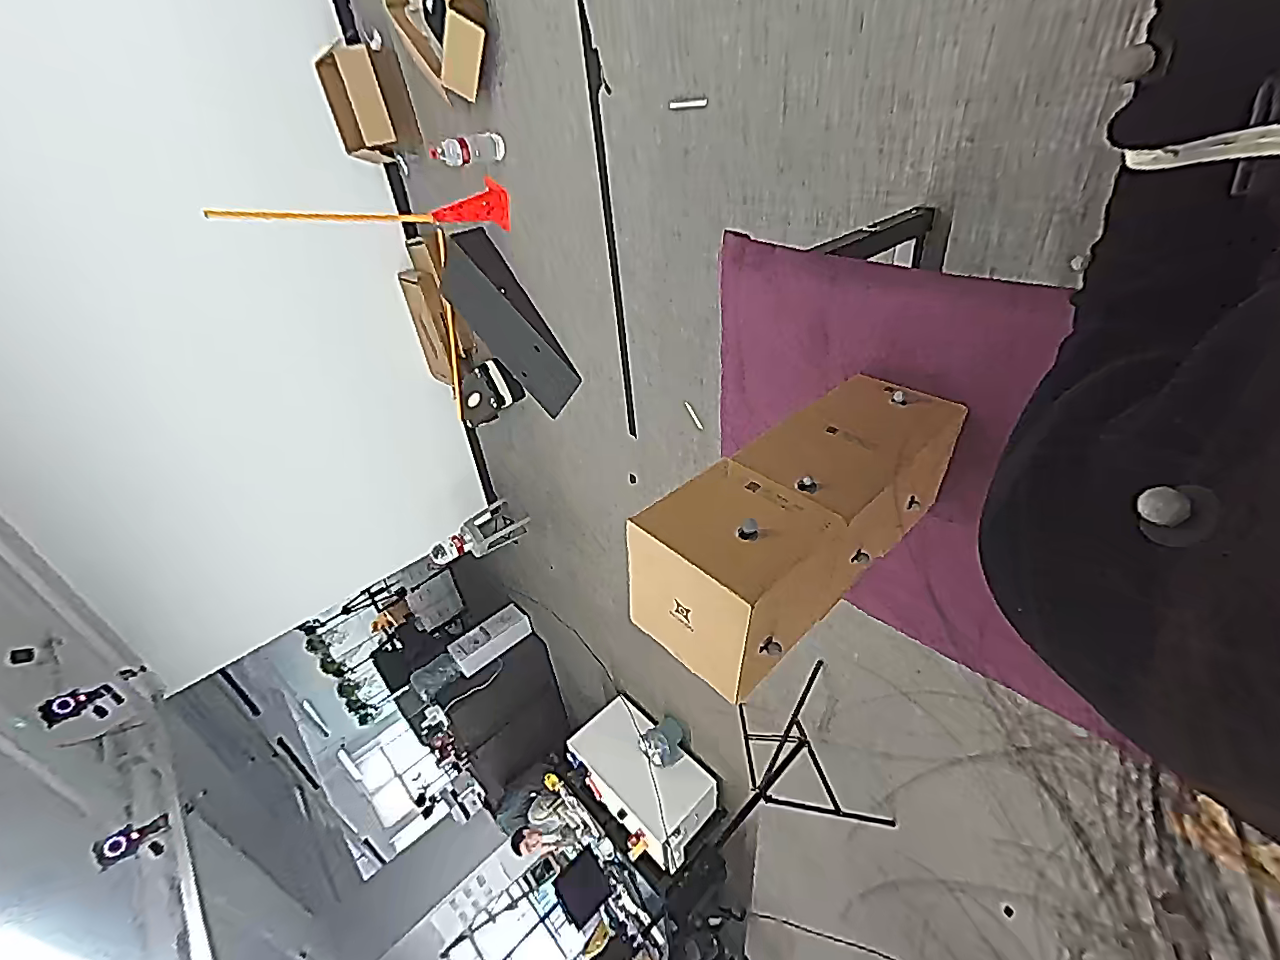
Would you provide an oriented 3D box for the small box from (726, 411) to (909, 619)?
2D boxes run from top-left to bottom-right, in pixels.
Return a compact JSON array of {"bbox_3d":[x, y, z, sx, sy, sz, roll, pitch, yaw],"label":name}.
[{"bbox_3d":[0.223,0.038,0.710,0.168,0.176,0.179,32,140,35],"label":"small box"}]

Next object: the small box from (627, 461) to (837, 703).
[{"bbox_3d":[0.103,0.105,0.620,0.168,0.176,0.179,32,140,35],"label":"small box"}]

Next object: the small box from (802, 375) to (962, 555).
[{"bbox_3d":[0.342,-0.029,0.799,0.168,0.176,0.179,30,138,37],"label":"small box"}]
